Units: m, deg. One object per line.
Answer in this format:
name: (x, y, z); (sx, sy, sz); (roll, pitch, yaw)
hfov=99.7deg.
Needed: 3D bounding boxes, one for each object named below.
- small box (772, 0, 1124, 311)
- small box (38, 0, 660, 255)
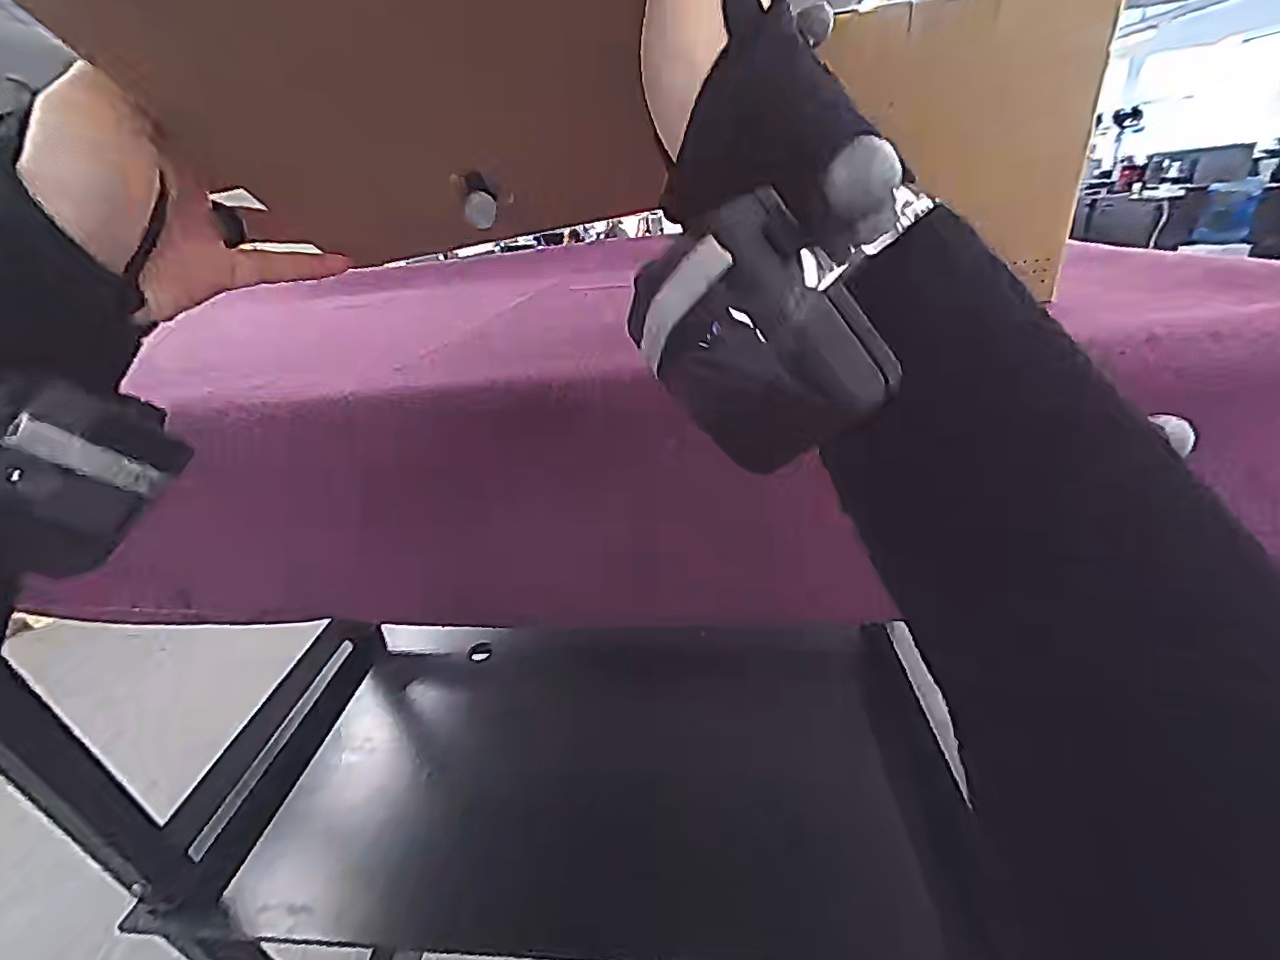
small box: (0.185, -0.225, 0.391); (0.168, 0.176, 0.179); (-2, 28, 10)
small box: (-0.088, -0.215, 0.206); (0.179, 0.168, 0.176); (-9, -10, 3)
